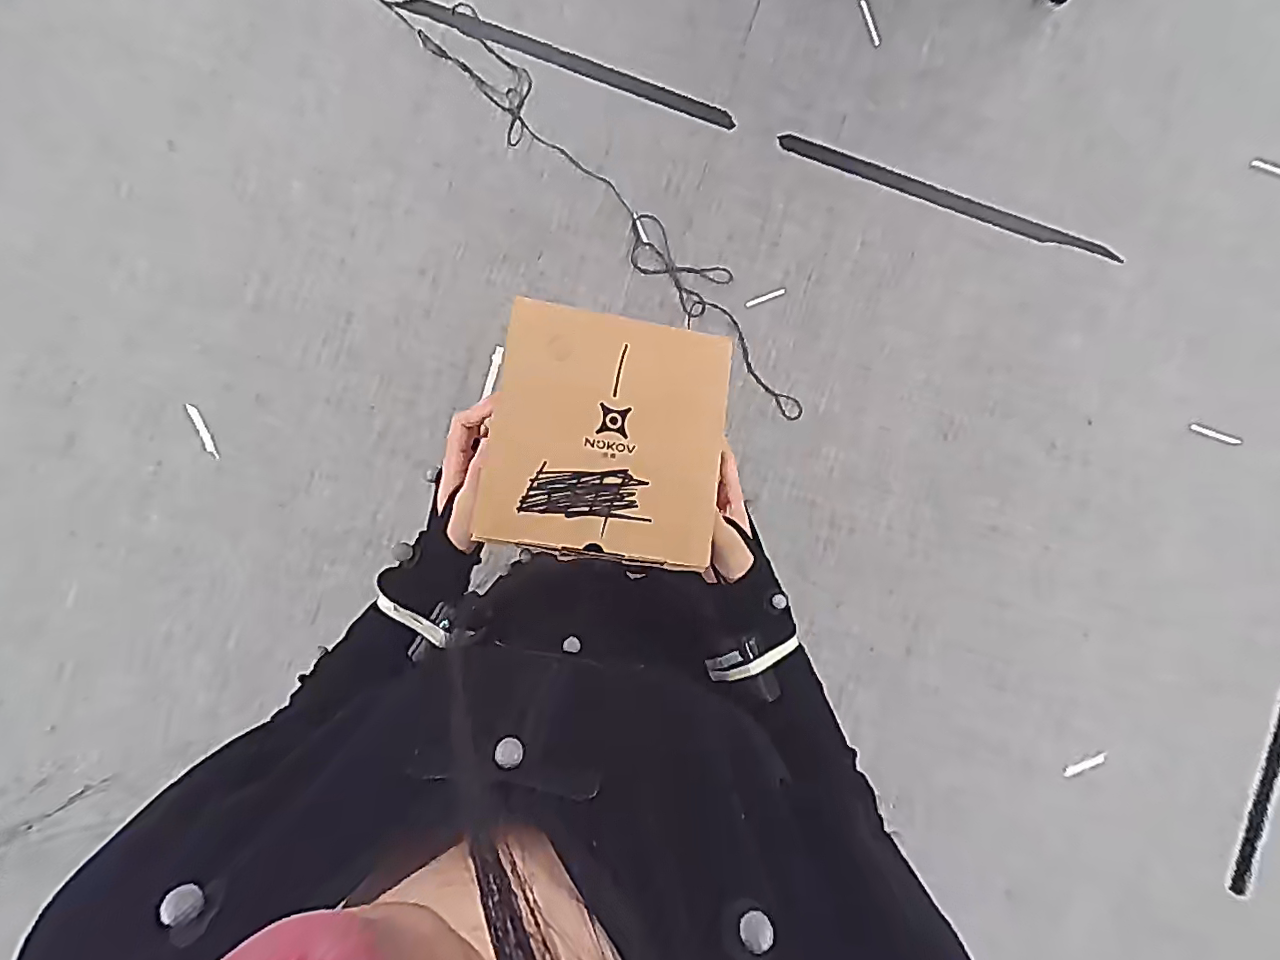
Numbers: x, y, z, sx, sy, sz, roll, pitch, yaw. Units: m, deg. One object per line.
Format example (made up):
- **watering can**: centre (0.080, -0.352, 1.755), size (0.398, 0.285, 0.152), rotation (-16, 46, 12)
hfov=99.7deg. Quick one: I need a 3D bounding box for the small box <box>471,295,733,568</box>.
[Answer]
- **small box**: centre (-0.034, -0.024, 0.458), size (0.168, 0.176, 0.179), rotation (9, 80, -8)
